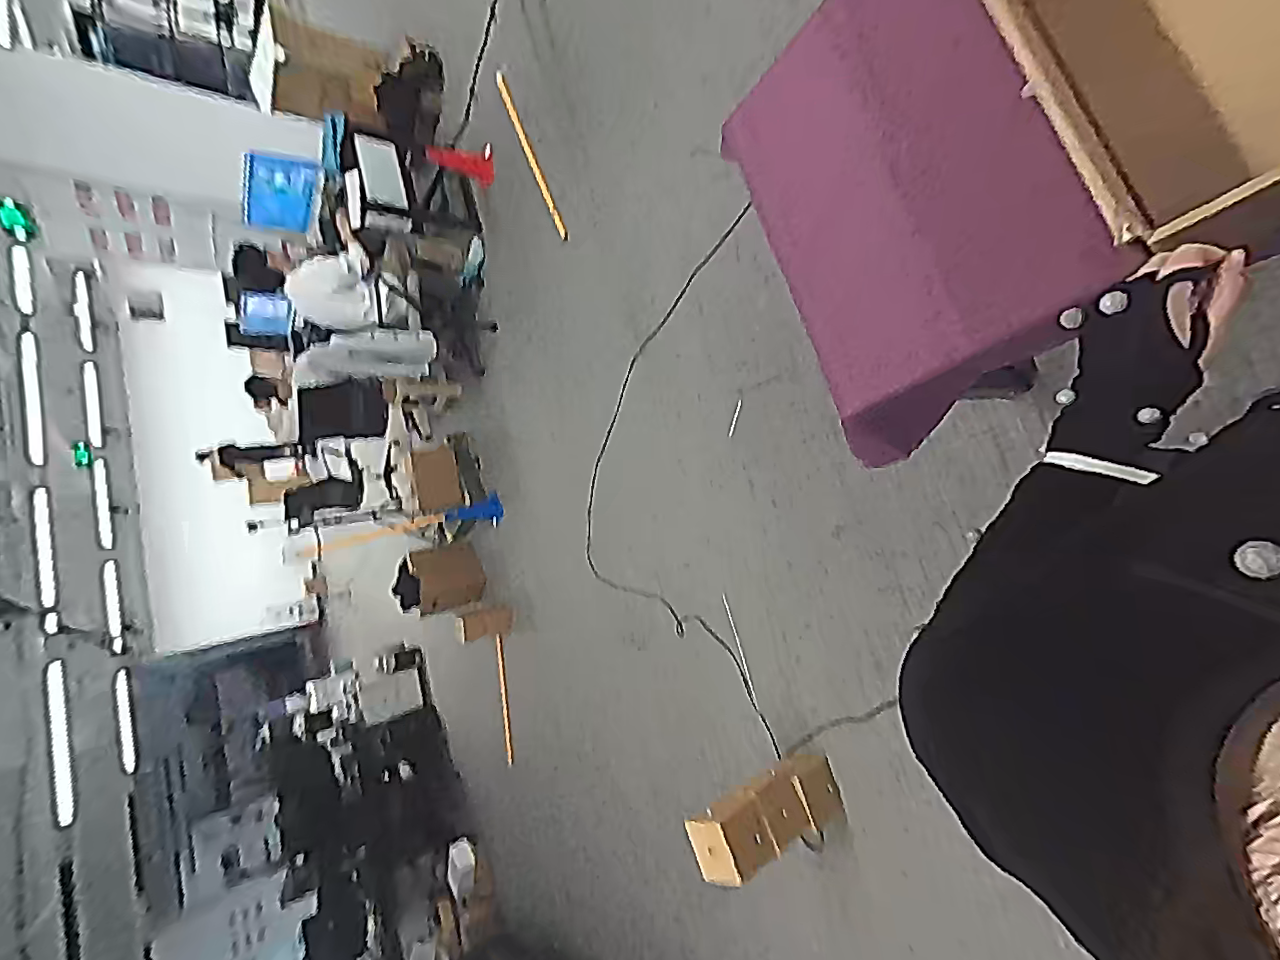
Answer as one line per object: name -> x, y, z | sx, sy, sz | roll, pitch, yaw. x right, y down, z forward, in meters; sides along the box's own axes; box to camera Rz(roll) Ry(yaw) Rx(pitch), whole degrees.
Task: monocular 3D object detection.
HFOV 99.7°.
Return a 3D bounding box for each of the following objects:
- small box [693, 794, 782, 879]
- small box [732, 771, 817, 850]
small box -> 0.302, 1.092, 1.670 | 0.179, 0.176, 0.168 | -41, 64, 46
small box -> 0.438, 1.069, 1.758 | 0.168, 0.176, 0.179 | -46, 62, 46
